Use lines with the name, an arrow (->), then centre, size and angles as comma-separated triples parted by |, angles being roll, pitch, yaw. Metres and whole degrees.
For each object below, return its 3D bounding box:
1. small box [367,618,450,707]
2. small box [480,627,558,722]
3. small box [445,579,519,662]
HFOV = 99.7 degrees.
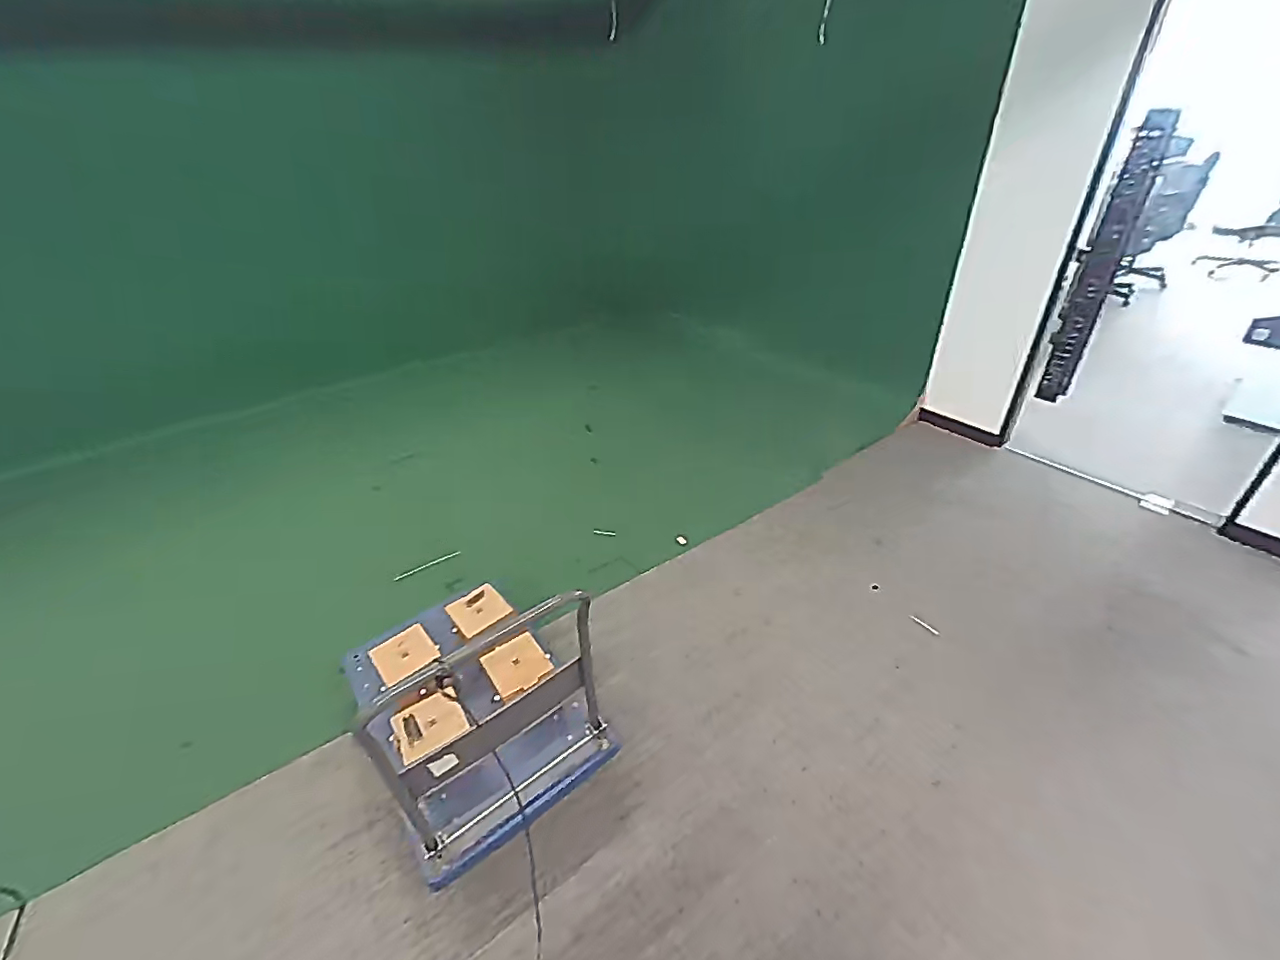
small box -> -0.718, 0.578, 1.693 | 0.168, 0.176, 0.179 | -28, 42, -32
small box -> -0.366, 0.593, 1.645 | 0.168, 0.176, 0.179 | -25, 42, -28
small box -> -0.530, 0.474, 1.824 | 0.168, 0.176, 0.179 | -29, 44, -31
